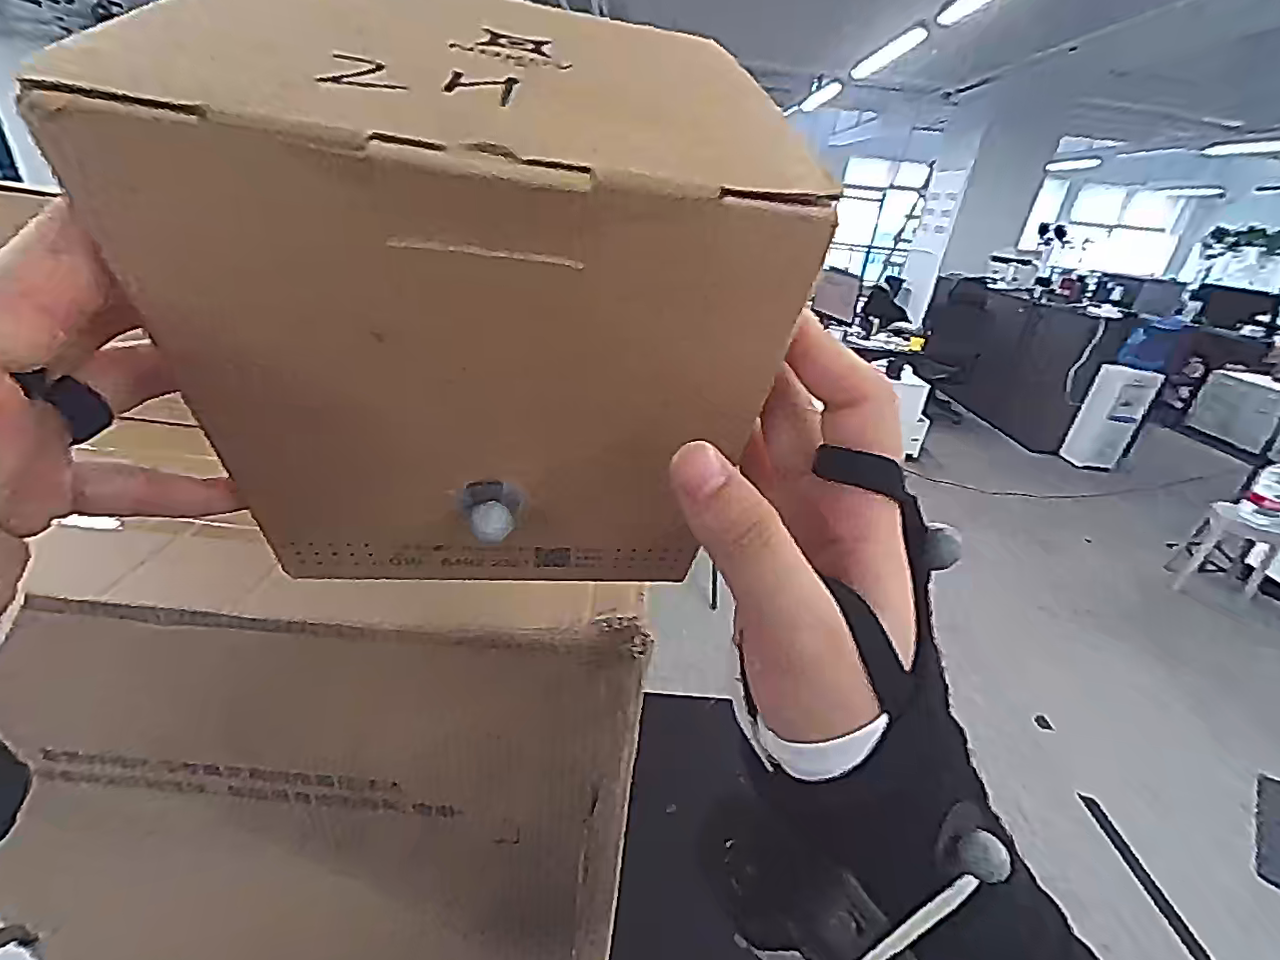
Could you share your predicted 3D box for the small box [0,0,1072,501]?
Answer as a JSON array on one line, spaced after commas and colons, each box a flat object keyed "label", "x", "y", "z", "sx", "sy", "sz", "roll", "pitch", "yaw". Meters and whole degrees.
[{"label": "small box", "x": -0.029, "y": -0.116, "z": 0.147, "sx": 0.168, "sy": 0.176, "sz": 0.179, "roll": 2, "pitch": 49, "yaw": -11}]
